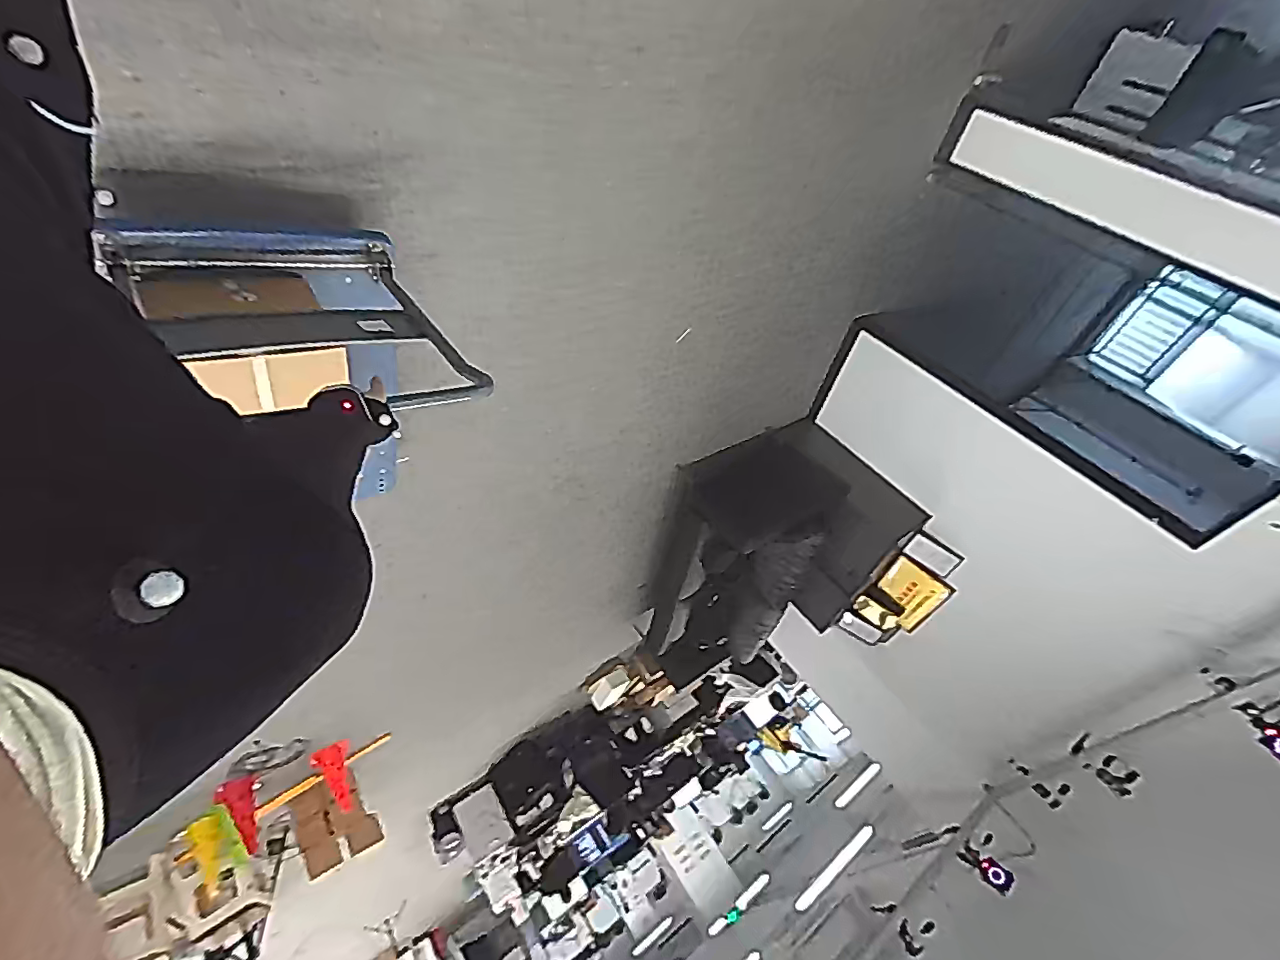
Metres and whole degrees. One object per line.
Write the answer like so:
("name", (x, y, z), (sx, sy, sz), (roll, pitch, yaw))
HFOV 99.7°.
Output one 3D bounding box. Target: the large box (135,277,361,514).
("large box", (-0.866, -0.201, 1.233), (0.320, 0.320, 0.408), (-18, 143, -36))
